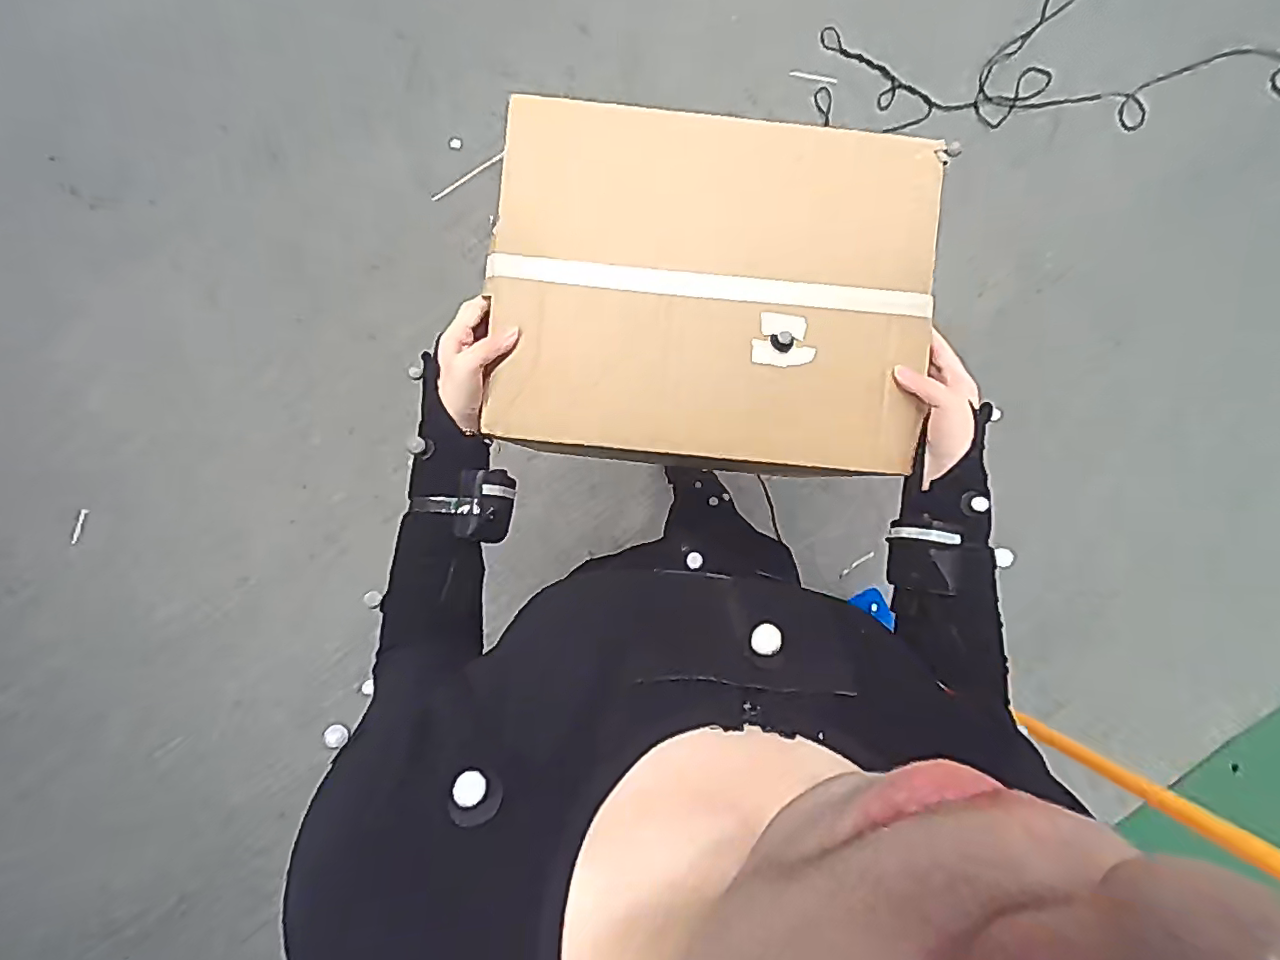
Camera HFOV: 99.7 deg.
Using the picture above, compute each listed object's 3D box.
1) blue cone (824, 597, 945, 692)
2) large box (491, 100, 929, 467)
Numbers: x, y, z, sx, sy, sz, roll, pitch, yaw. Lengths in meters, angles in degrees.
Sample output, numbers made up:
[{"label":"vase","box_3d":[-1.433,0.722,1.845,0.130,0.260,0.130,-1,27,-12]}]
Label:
[{"label":"blue cone","box_3d":[0.620,0.428,1.325,0.193,0.380,0.192,-25,89,-2]},{"label":"large box","box_3d":[0.061,-0.186,0.655,0.408,0.320,0.320,5,90,-2]}]
